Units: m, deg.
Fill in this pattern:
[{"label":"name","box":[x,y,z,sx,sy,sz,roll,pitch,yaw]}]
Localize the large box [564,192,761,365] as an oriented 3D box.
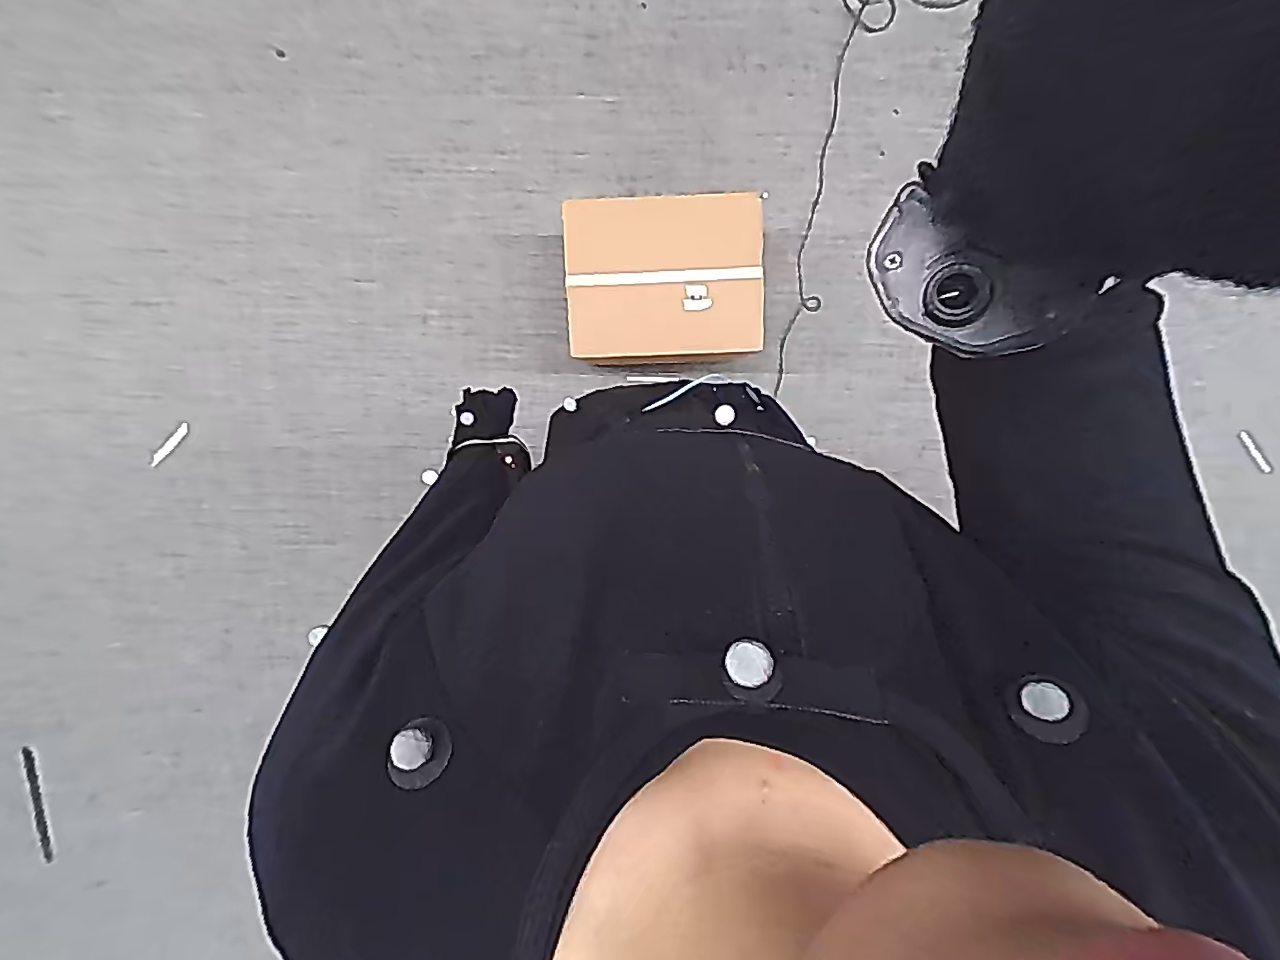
[{"label":"large box","box":[0.049,-0.444,1.264,0.408,0.320,0.320,-2,100,0]}]
